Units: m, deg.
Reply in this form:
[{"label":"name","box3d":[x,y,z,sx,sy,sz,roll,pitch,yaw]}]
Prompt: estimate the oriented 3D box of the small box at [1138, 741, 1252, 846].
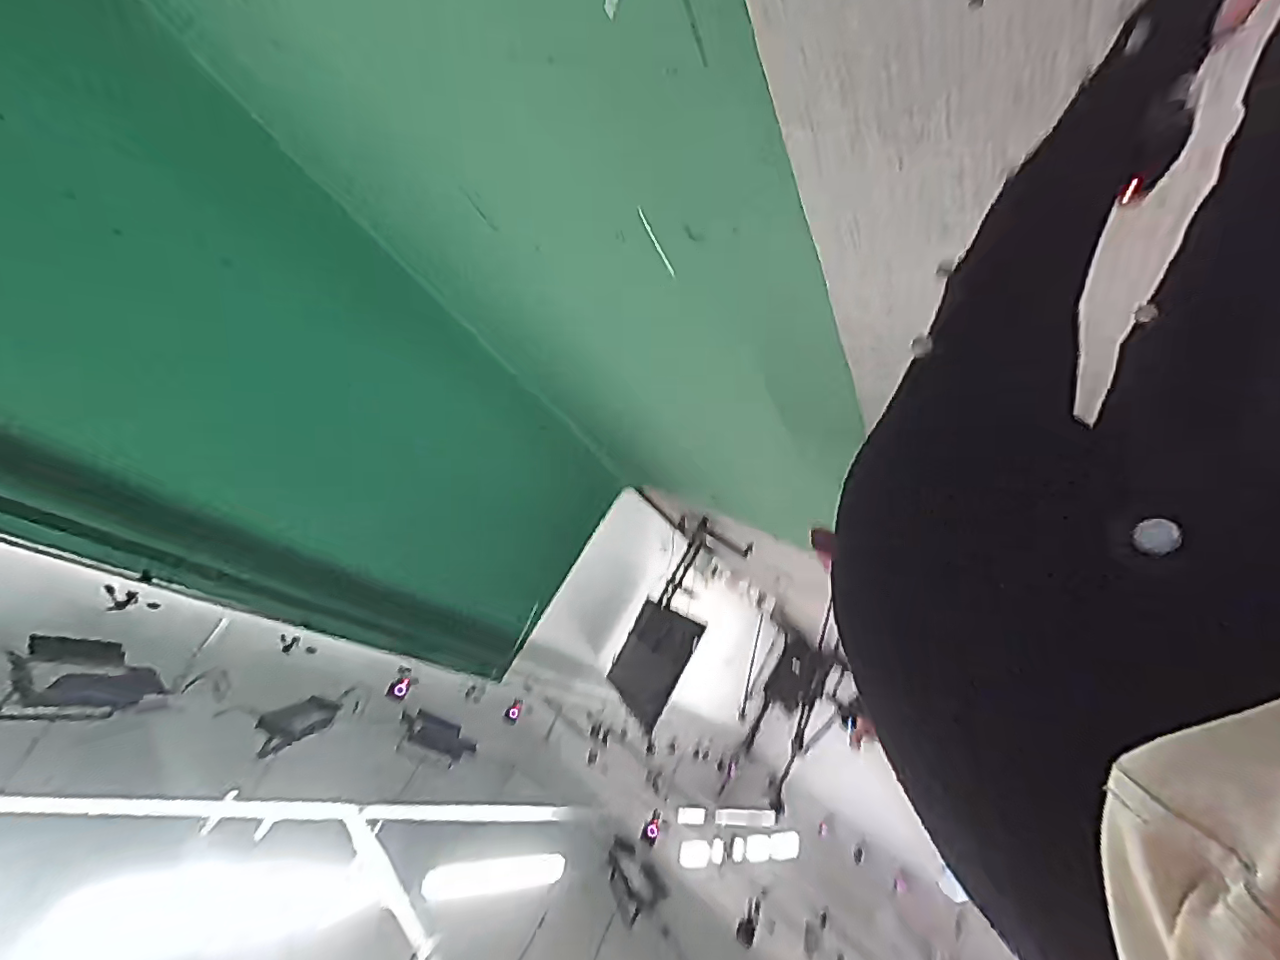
[{"label":"small box","box3d":[1.456,0.822,1.423,0.168,0.176,0.179,21,162,45]}]
